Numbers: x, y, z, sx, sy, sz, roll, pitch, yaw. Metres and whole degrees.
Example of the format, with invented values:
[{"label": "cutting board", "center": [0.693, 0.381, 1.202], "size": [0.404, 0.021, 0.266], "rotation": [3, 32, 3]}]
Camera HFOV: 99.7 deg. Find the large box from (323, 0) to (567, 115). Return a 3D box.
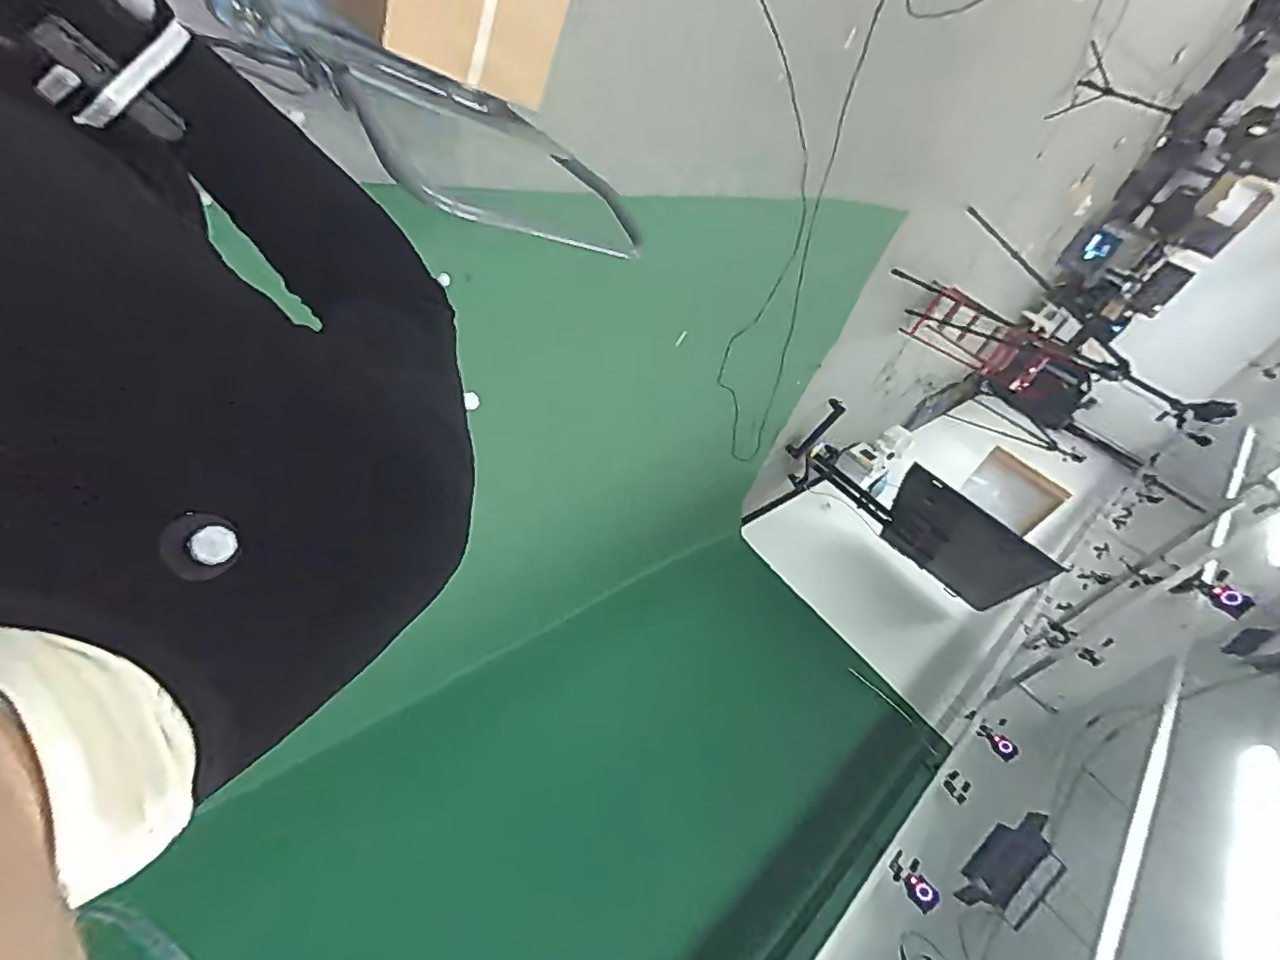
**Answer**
[{"label": "large box", "center": [-0.328, -0.952, 0.947], "size": [0.320, 0.320, 0.408], "rotation": [-13, 139, -47]}]
